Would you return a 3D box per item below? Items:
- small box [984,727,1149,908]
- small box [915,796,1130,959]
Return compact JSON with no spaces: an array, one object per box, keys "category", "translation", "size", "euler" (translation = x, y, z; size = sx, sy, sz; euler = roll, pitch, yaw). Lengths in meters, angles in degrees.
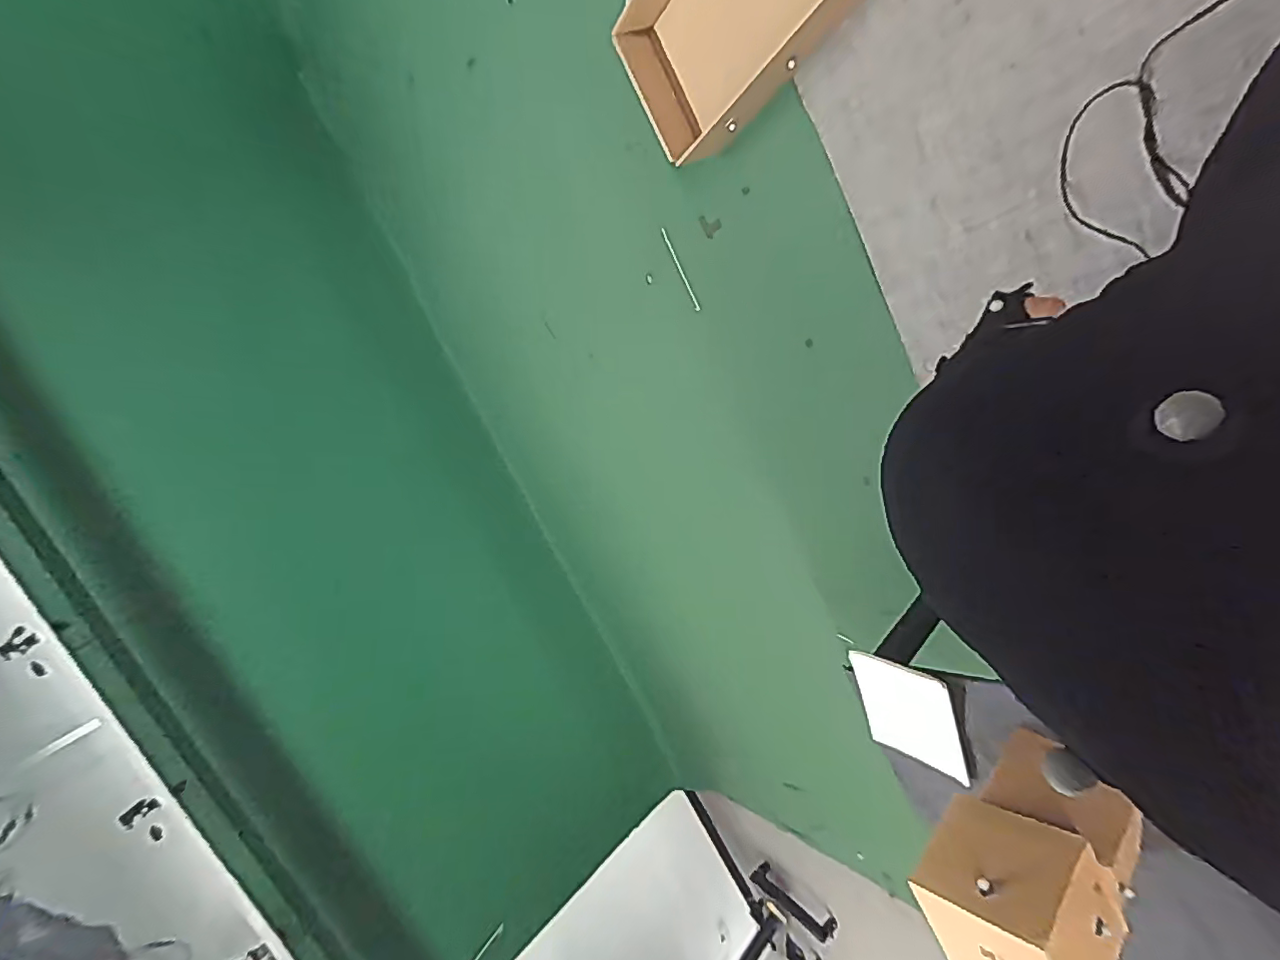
[{"category":"small box","translation":[0.657,0.530,0.835],"size":[0.168,0.176,0.179],"euler":[10,125,50]},{"category":"small box","translation":[0.527,0.582,0.749],"size":[0.179,0.176,0.168],"euler":[-16,104,56]}]
